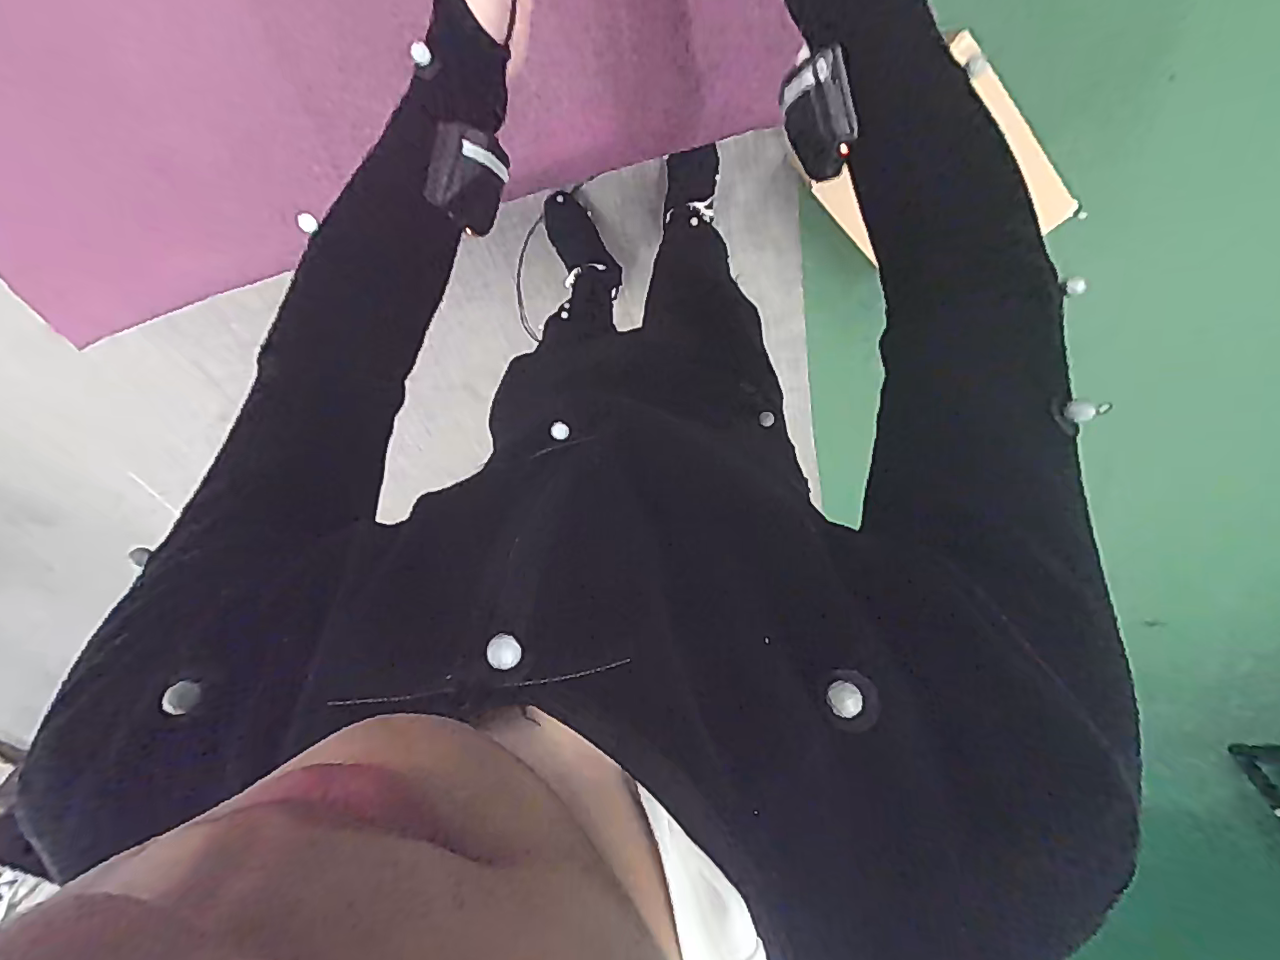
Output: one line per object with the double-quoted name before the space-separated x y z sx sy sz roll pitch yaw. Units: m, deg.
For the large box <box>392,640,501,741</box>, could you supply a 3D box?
"large box" -0.966 1.057 2.720 0.408 0.320 0.320 24 129 -16
